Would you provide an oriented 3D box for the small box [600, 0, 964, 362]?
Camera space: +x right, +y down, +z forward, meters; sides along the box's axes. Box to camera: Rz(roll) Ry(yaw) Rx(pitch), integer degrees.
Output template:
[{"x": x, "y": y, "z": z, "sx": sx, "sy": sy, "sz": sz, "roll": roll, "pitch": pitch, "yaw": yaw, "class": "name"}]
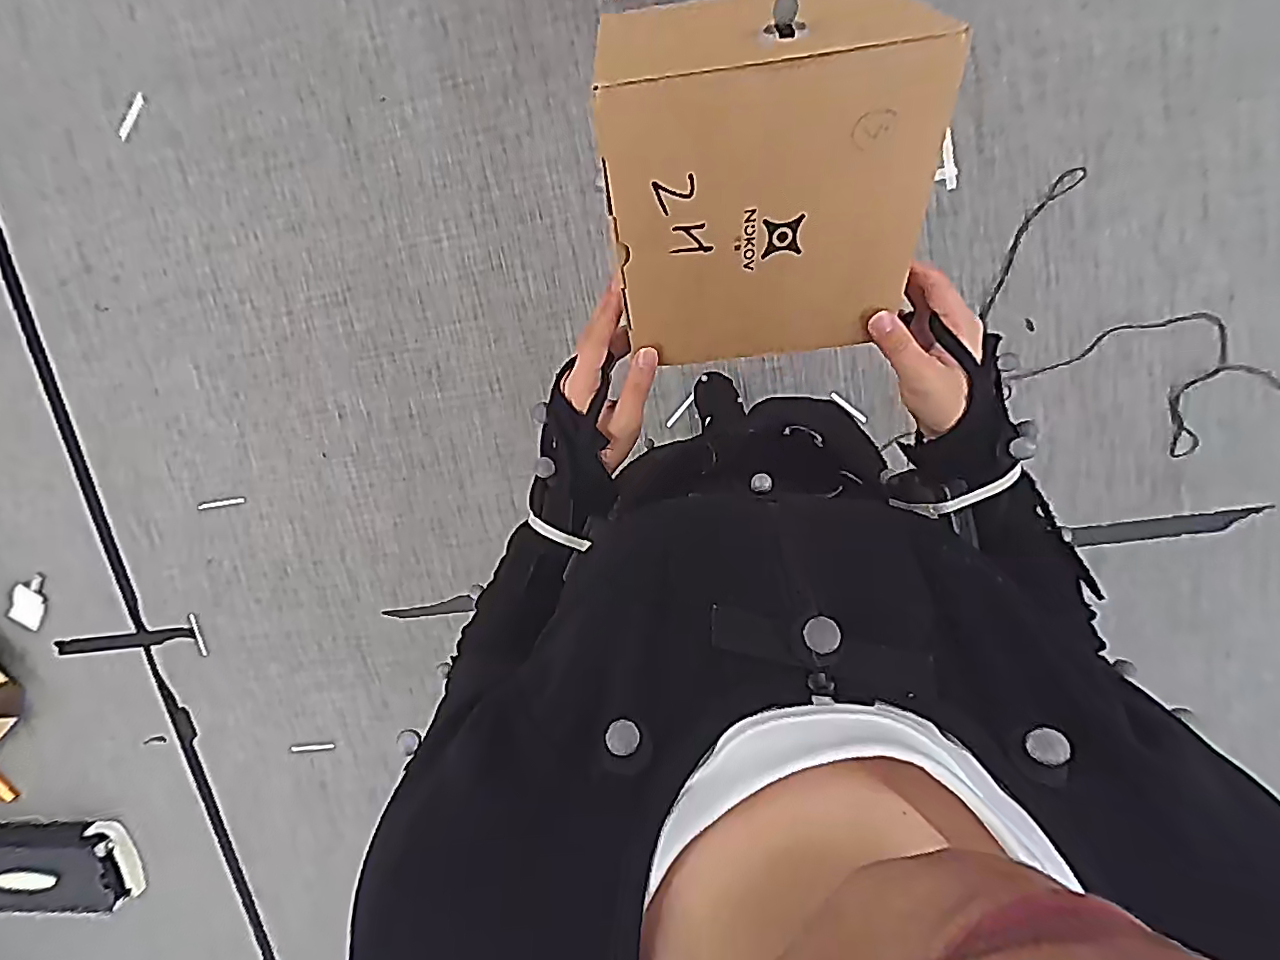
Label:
[{"x": 0.071, "y": -0.204, "z": 0.365, "sx": 0.179, "sy": 0.176, "sz": 0.168, "roll": -5, "pitch": 139, "yaw": 4, "class": "small box"}]
